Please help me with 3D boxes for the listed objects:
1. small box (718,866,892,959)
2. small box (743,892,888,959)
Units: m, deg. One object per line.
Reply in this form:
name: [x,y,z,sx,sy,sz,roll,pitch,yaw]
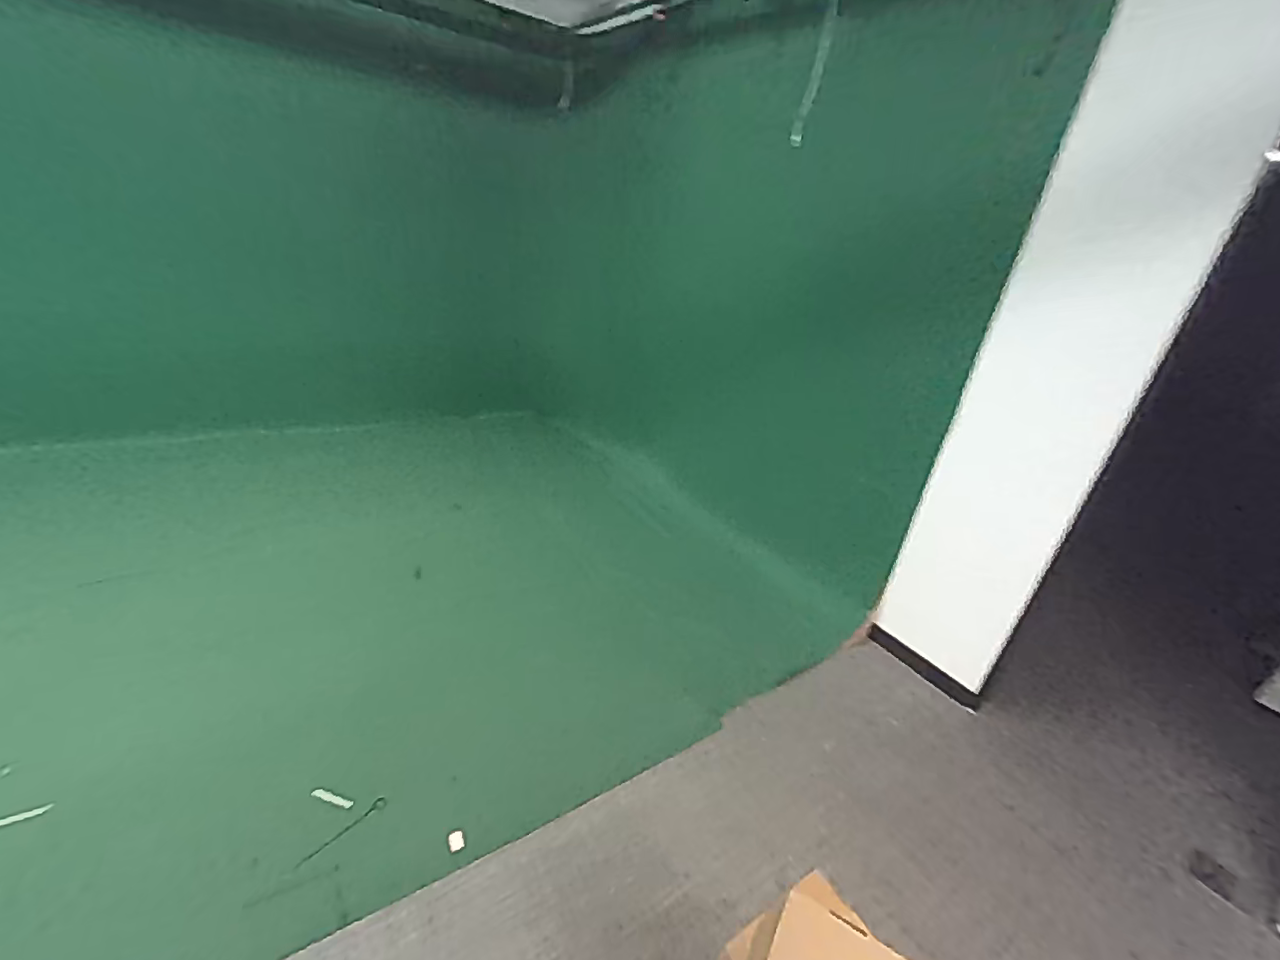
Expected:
small box: [0.208,0.661,0.692,0.179,0.176,0.168,-11,34,-32]
small box: [0.142,0.467,0.405,0.168,0.176,0.179,22,47,22]
